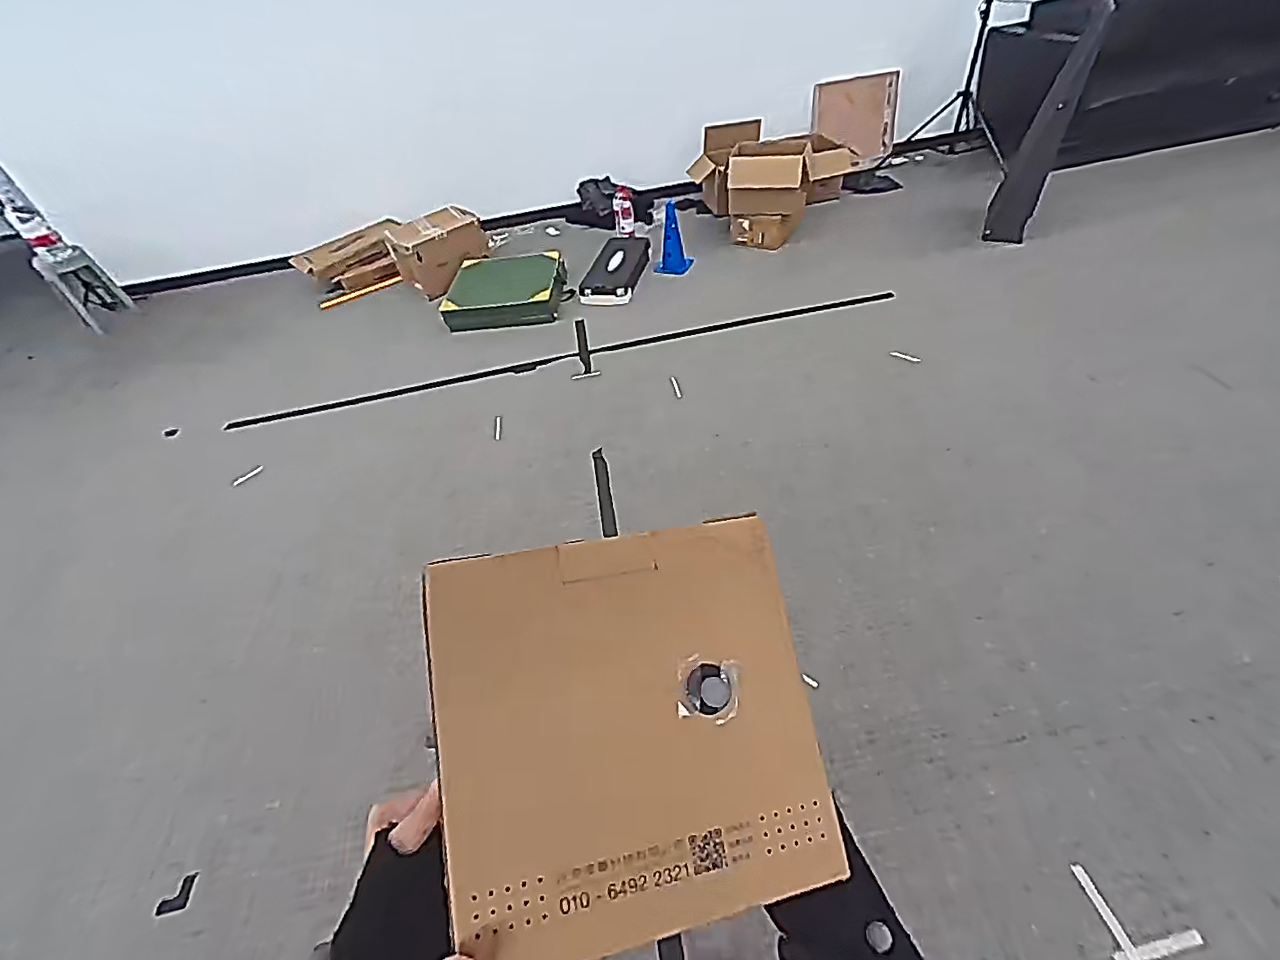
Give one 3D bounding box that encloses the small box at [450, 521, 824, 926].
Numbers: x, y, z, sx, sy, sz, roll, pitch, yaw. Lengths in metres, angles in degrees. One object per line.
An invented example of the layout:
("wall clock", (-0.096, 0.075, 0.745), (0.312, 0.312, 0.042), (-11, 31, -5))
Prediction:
("small box", (-0.011, 0.134, 0.336), (0.168, 0.179, 0.176), (-7, 76, -11))
